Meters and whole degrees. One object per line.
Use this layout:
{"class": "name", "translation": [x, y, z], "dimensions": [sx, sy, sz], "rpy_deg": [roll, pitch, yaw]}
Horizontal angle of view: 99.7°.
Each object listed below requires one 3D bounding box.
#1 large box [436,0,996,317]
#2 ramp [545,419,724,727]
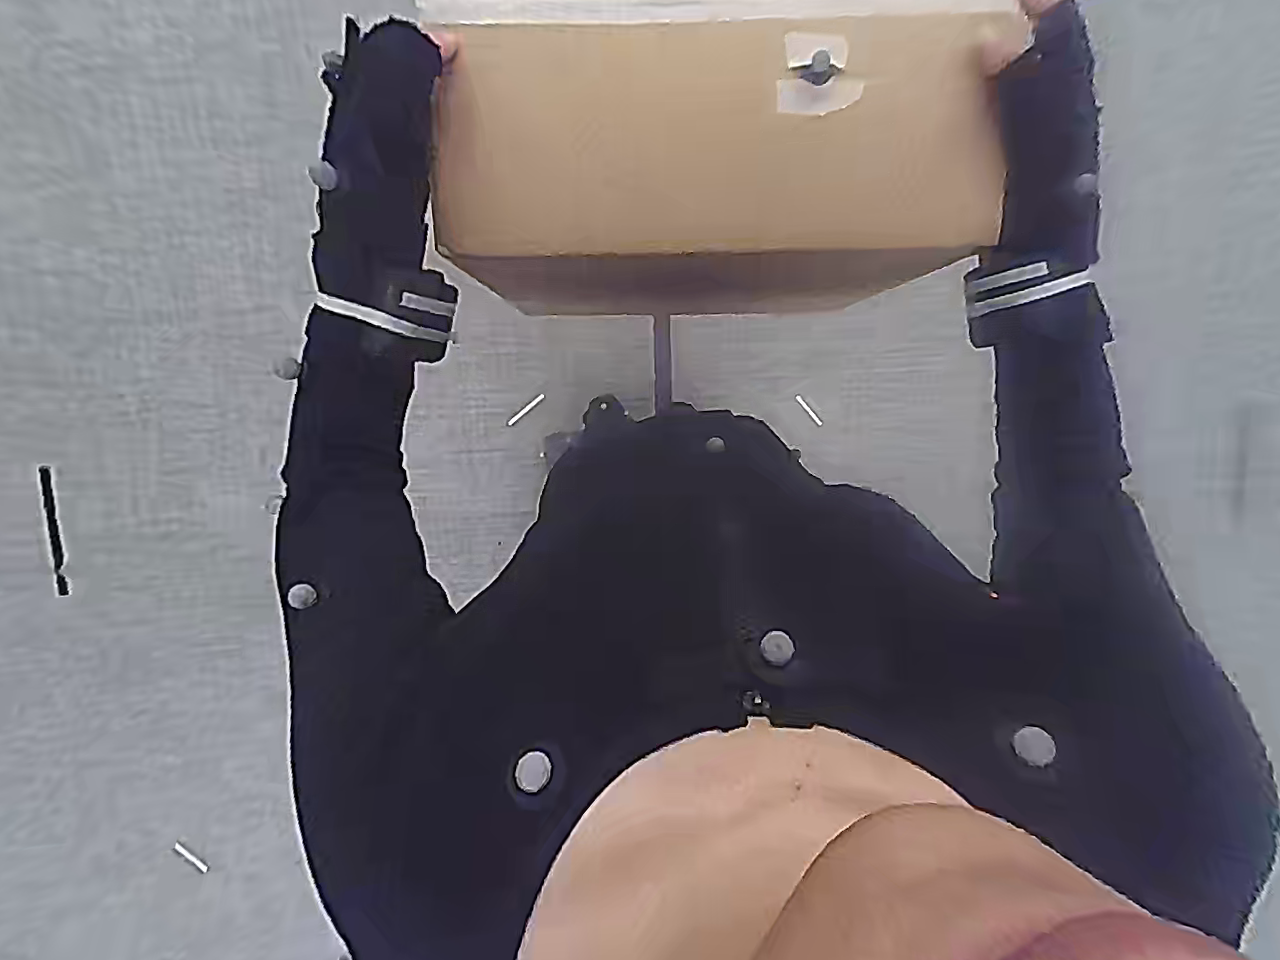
{"class": "large box", "translation": [0.050, -0.347, 0.529], "dimensions": [0.408, 0.320, 0.320], "rpy_deg": [-2, 99, -1]}
{"class": "ramp", "translation": [0.012, 0.320, 1.628], "dimensions": [0.509, 0.206, 0.991], "rpy_deg": [-5, 98, -2]}
